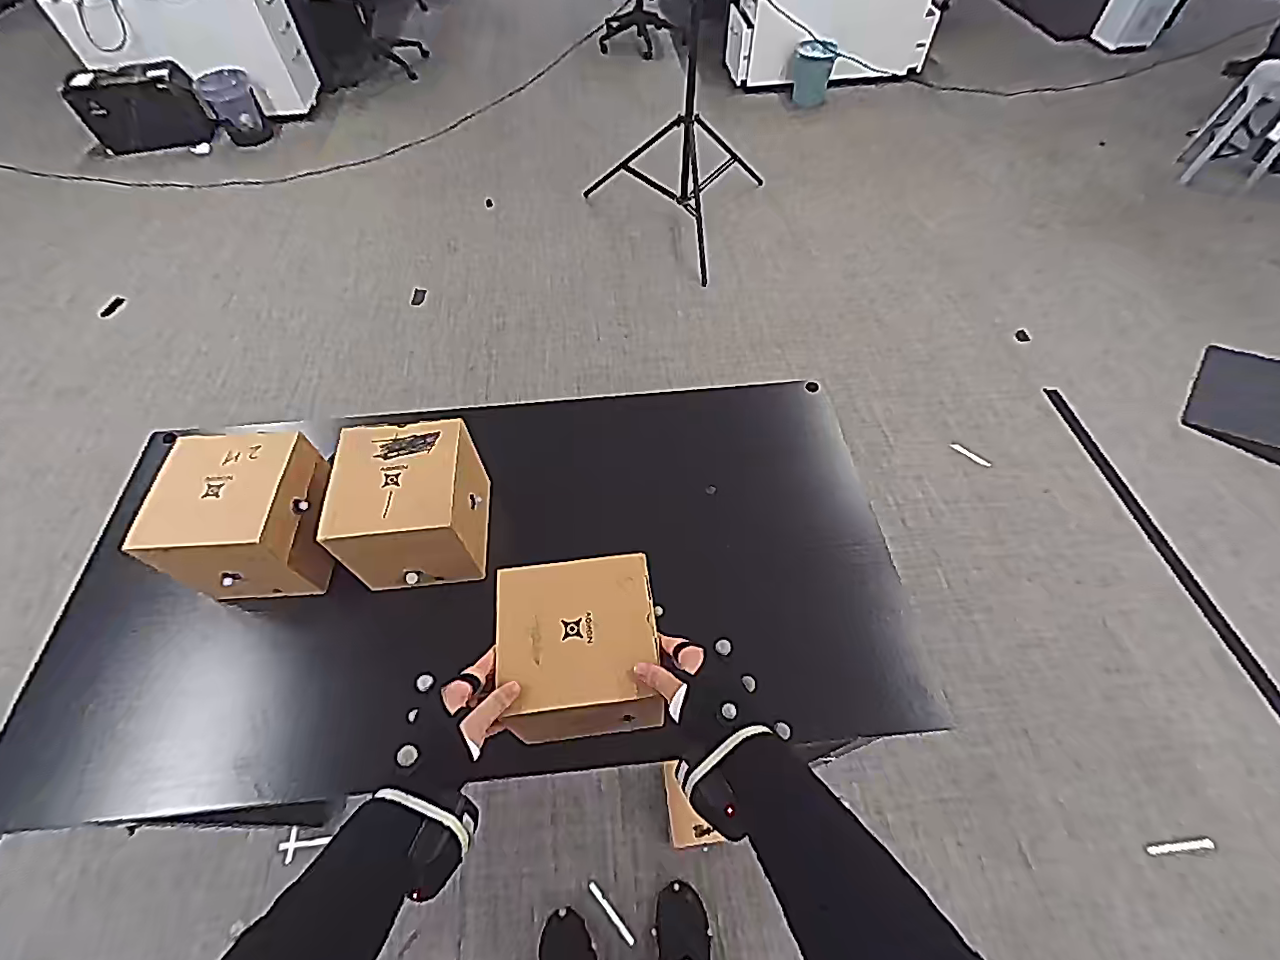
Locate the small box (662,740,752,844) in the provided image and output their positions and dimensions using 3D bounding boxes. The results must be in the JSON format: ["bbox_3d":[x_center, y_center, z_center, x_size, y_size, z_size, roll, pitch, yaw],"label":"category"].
[{"bbox_3d":[0.140,0.695,1.201,0.168,0.176,0.179,-7,56,-2],"label":"small box"}]

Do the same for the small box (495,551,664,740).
[{"bbox_3d":[-0.069,0.205,0.659,0.179,0.176,0.168,-8,55,-3],"label":"small box"}]

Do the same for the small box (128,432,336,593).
[{"bbox_3d":[-0.544,0.054,0.768,0.168,0.176,0.179,-3,56,-2],"label":"small box"}]

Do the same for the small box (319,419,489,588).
[{"bbox_3d":[-0.320,0.037,0.775,0.168,0.176,0.179,-6,57,-3],"label":"small box"}]
